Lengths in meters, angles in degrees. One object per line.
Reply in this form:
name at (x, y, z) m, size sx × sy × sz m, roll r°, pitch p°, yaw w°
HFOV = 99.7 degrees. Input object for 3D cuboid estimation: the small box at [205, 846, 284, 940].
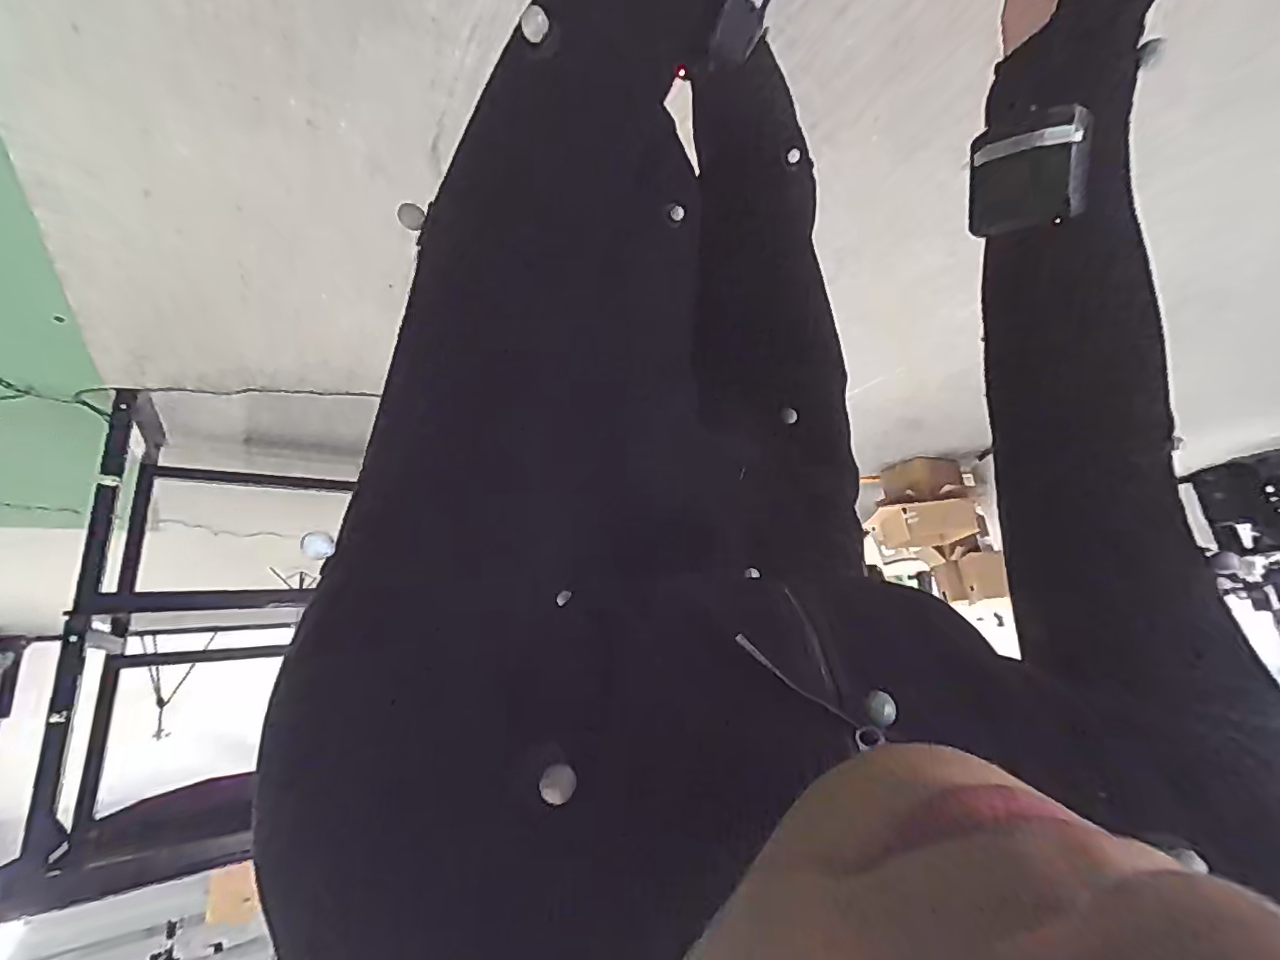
small box at (-1.212, 1.255, 1.660) m, size 0.179 × 0.176 × 0.168 m, roll 6°, pitch 160°, yaw -35°
